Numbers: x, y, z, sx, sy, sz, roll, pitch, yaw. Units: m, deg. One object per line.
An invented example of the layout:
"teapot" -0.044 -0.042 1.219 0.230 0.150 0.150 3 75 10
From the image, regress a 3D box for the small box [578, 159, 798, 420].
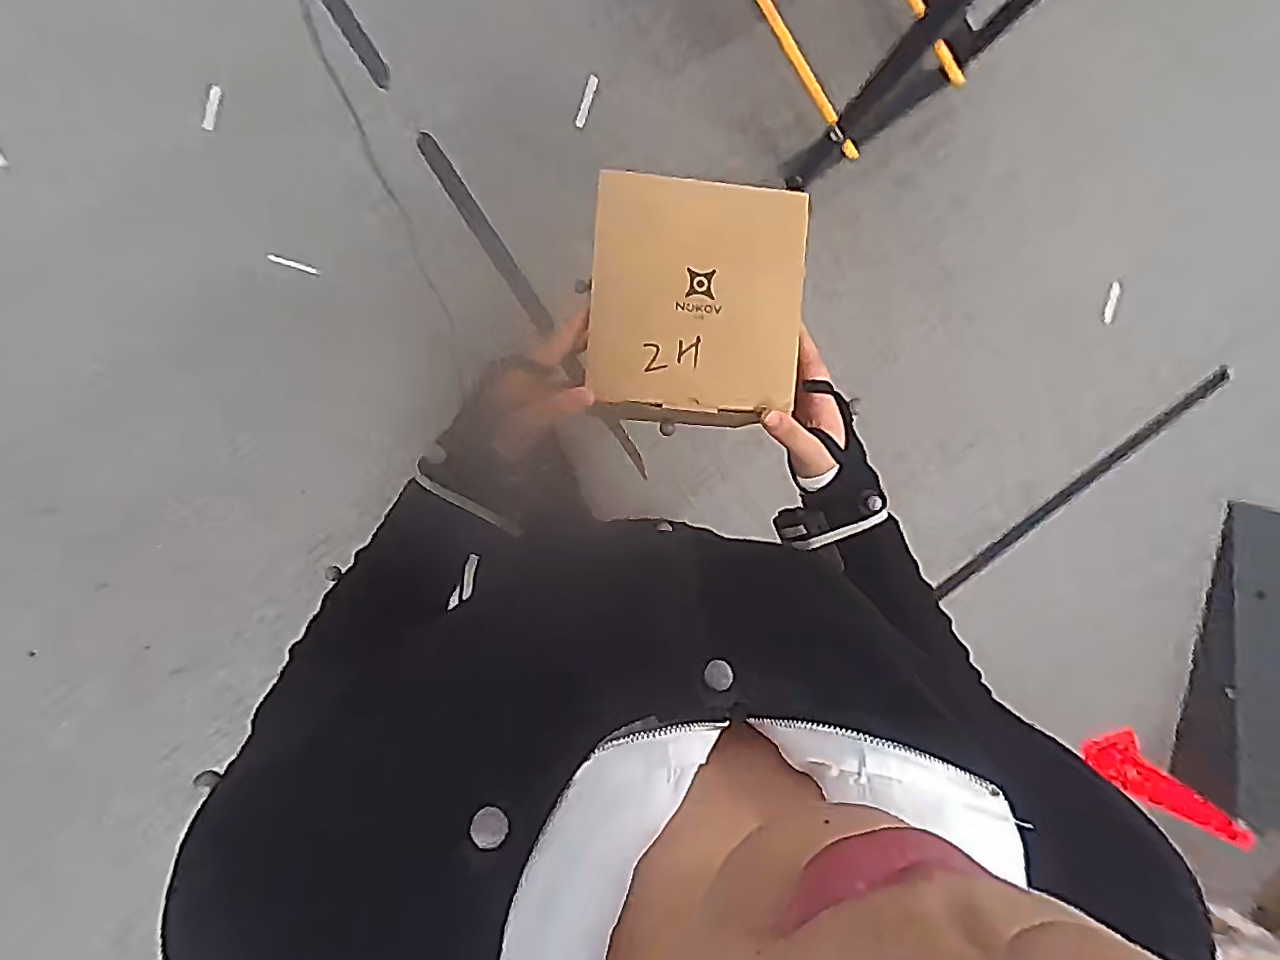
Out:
"small box" 0.031 -0.153 0.495 0.168 0.176 0.179 3 92 -5
